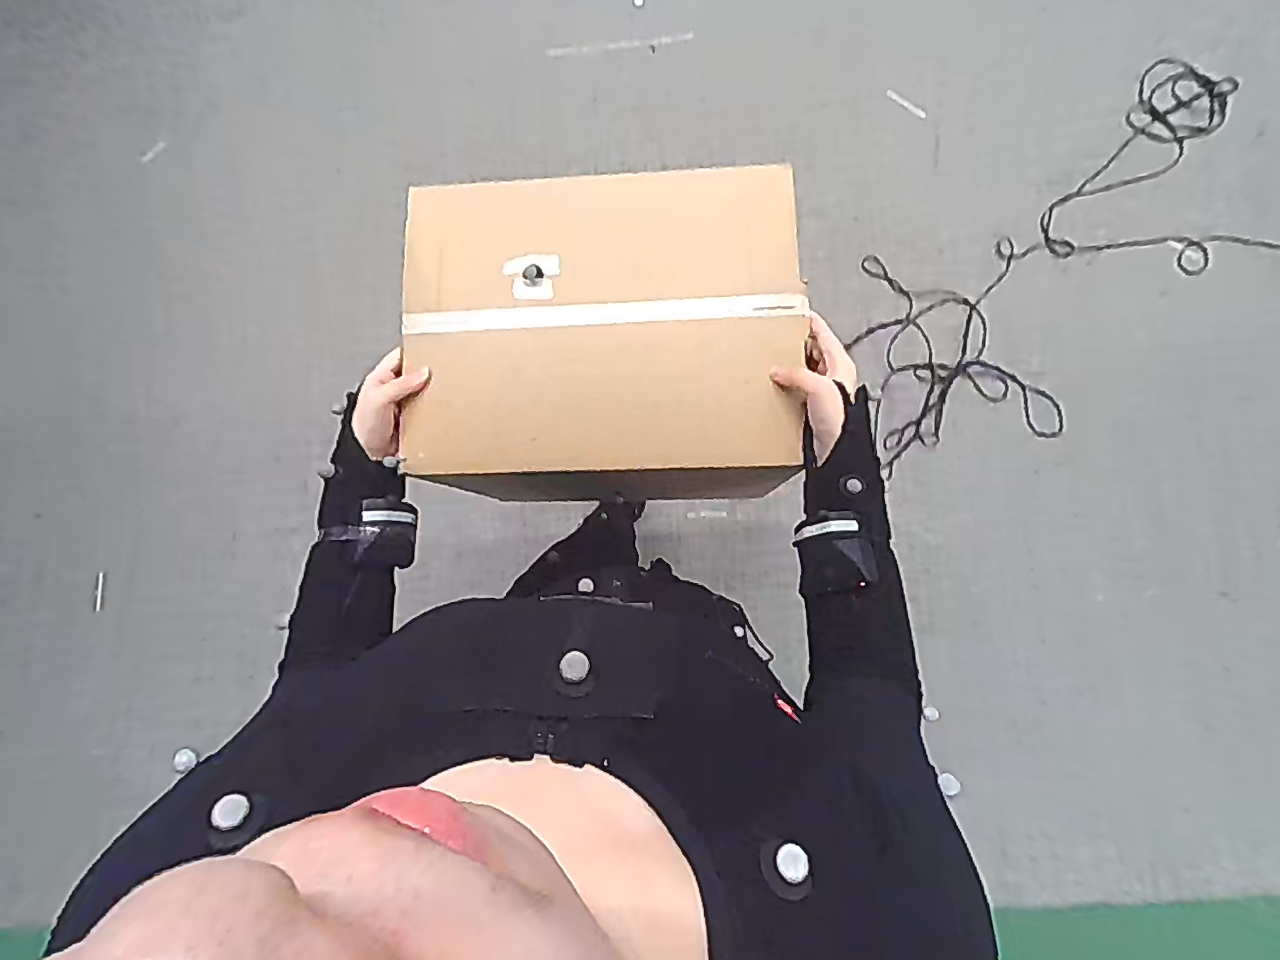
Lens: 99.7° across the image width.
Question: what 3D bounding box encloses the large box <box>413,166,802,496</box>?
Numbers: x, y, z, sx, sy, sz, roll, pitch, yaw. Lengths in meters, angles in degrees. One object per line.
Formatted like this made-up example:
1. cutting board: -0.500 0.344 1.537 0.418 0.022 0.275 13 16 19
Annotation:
1. large box: -0.028 -0.150 0.709 0.408 0.320 0.320 -2 81 5
